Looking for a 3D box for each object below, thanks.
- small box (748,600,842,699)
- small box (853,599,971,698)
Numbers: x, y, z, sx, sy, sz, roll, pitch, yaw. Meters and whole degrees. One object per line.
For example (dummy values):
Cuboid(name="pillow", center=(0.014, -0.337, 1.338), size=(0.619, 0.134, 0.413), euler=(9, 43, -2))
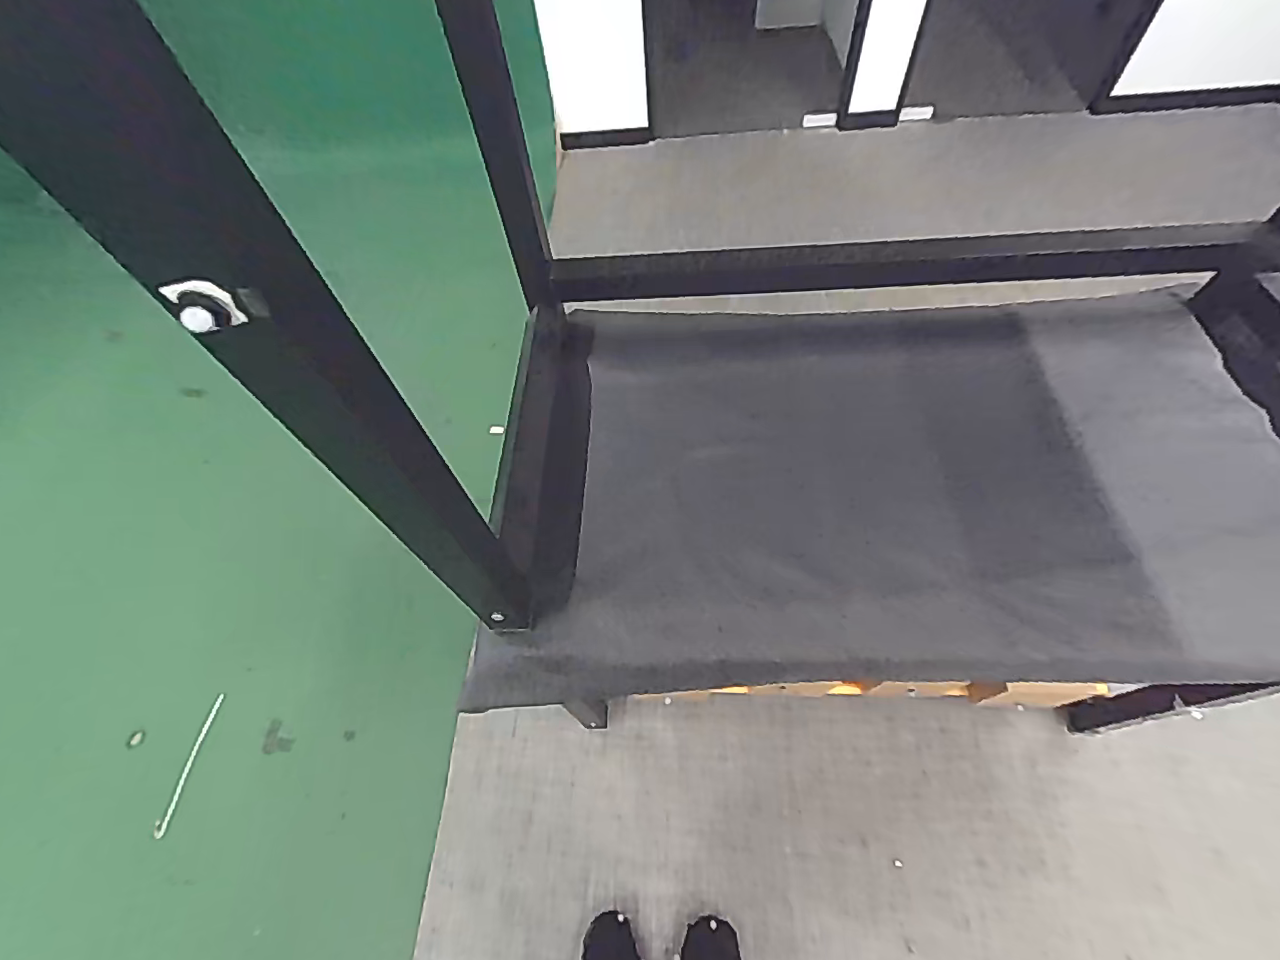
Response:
Cuboid(name="small box", center=(0.331, 0.376, 1.186), size=(0.168, 0.176, 0.179), euler=(0, 58, 5))
Cuboid(name="small box", center=(0.576, 0.368, 1.170), size=(0.168, 0.176, 0.179), euler=(-2, 58, 5))
